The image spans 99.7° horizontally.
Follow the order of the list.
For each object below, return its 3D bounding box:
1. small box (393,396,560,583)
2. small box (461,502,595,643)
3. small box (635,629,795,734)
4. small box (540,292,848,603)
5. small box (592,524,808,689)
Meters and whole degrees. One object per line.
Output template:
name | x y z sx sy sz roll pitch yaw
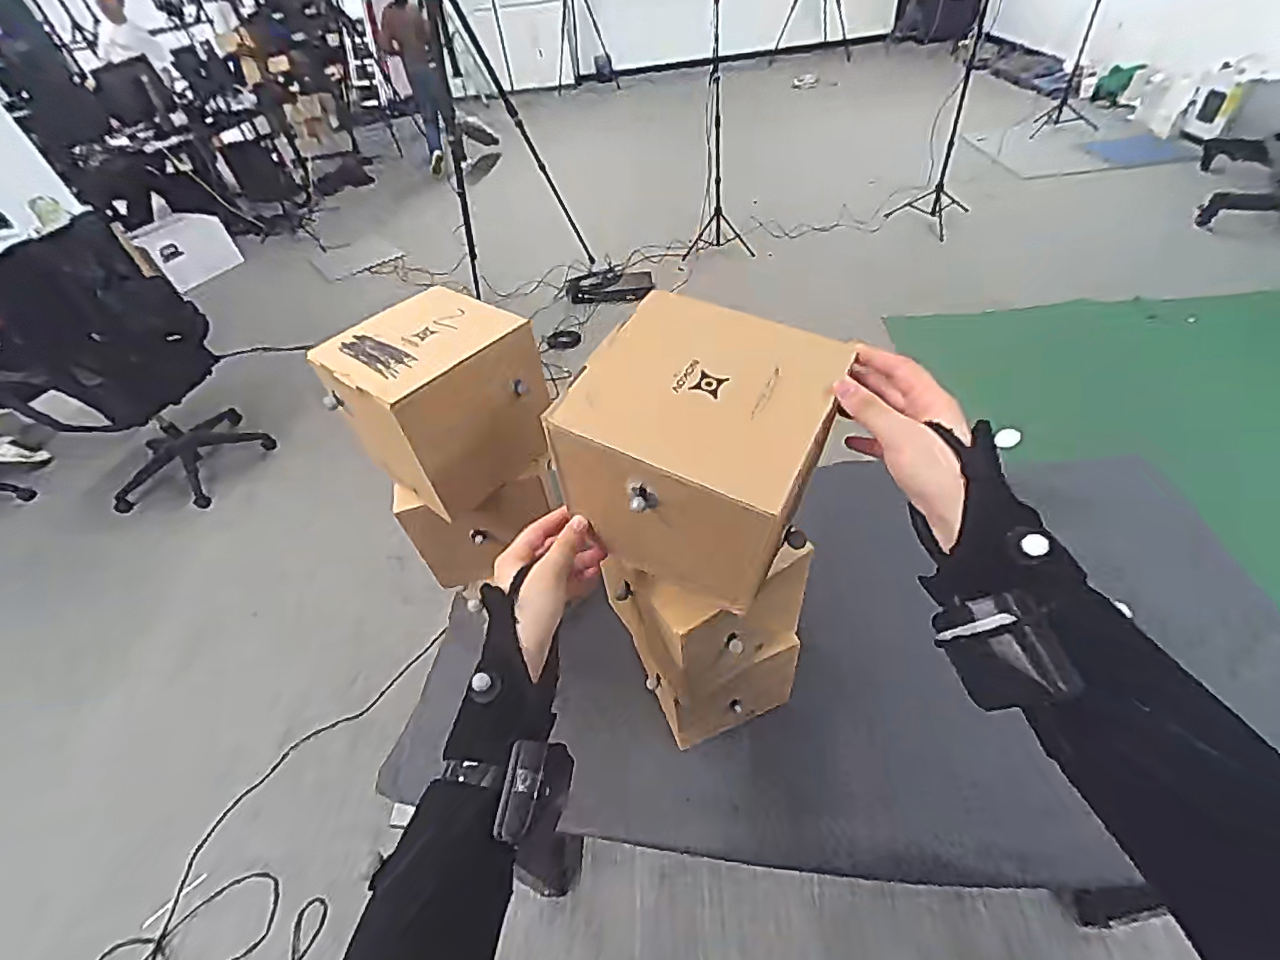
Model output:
small box | -0.215 0.015 0.747 0.179 0.176 0.168 -15 47 -5
small box | -0.196 0.126 0.868 0.179 0.176 0.168 32 58 32
small box | 0.089 0.217 0.733 0.168 0.176 0.179 -20 46 -11
small box | 0.046 -0.023 0.455 0.179 0.176 0.168 23 59 19
small box | 0.064 0.109 0.614 0.168 0.176 0.179 -28 48 -18
